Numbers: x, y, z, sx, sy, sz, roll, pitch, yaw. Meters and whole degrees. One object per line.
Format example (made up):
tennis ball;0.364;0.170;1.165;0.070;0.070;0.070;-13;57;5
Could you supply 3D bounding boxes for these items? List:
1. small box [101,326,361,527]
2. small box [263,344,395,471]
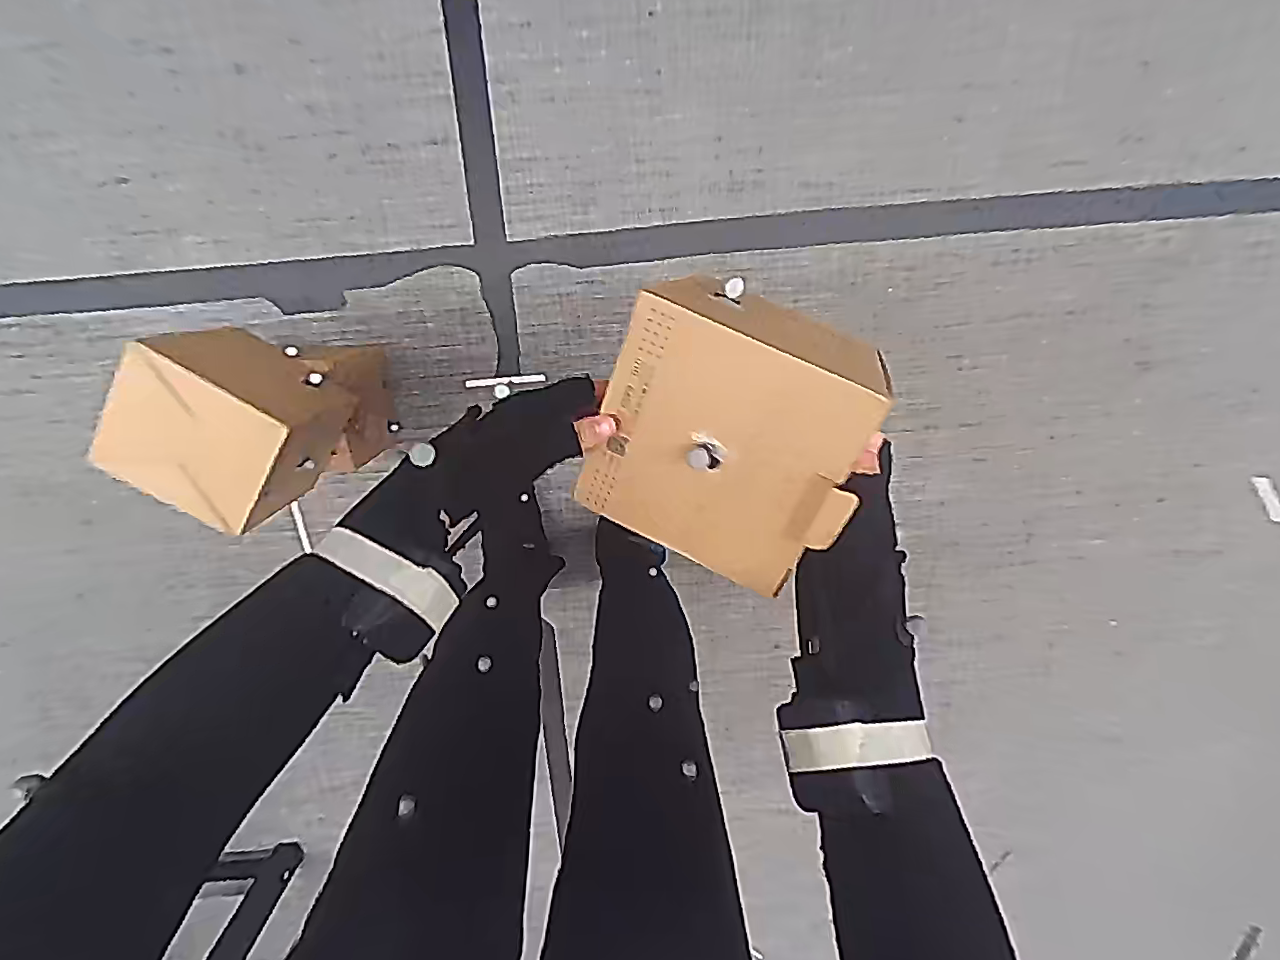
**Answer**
small box;-0.500;-0.069;0.680;0.179;0.176;0.168;32;107;-12
small box;-0.502;-0.118;0.841;0.179;0.176;0.168;-1;111;0
